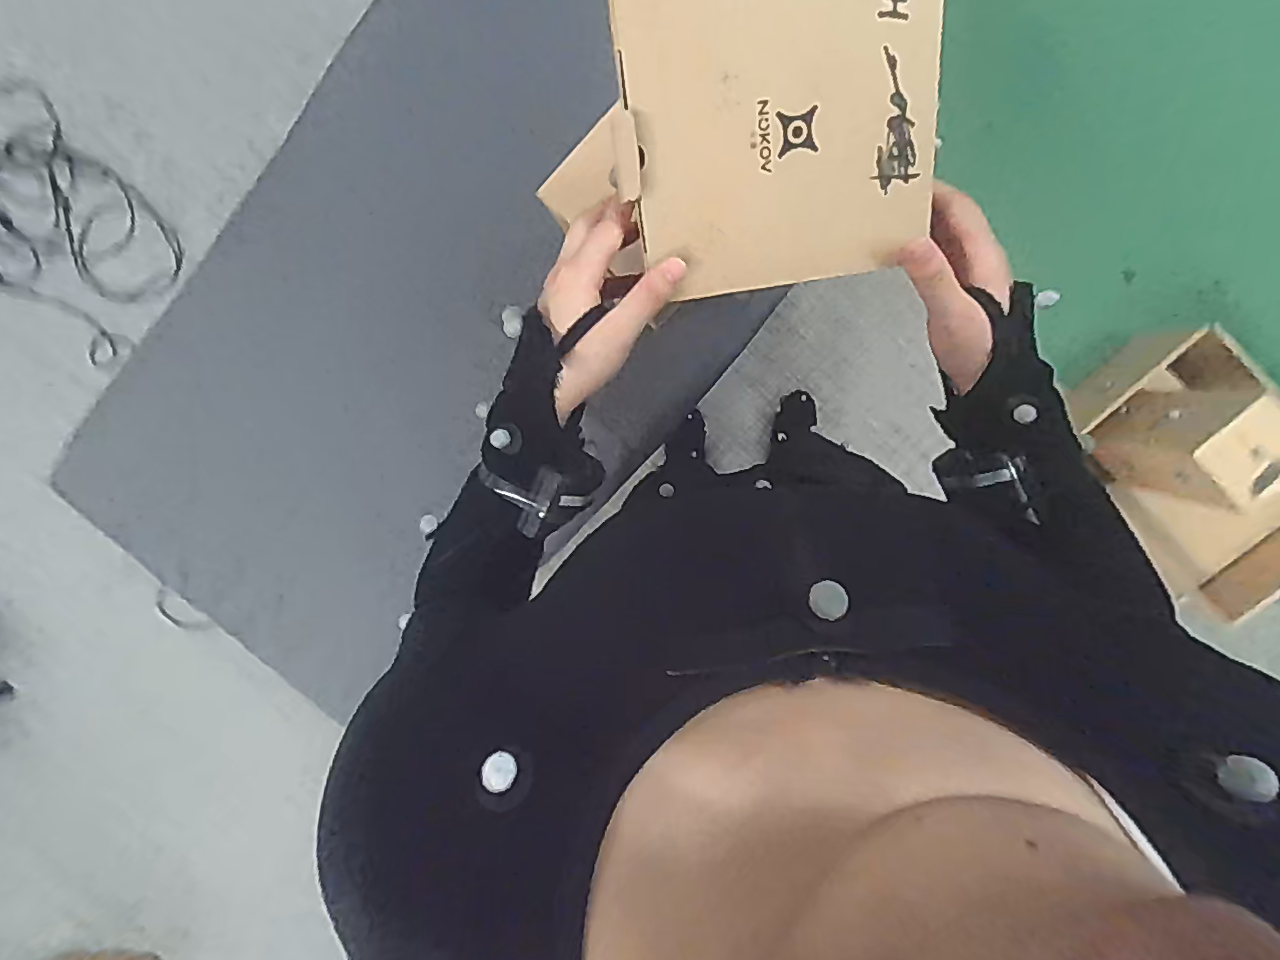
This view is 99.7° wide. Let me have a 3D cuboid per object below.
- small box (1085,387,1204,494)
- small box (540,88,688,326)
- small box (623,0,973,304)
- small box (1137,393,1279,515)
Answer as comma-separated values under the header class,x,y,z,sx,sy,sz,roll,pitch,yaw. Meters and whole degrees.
class,x,y,z,sx,sy,sz,roll,pitch,yaw
small box,1.192,-0.095,1.239,0.179,0.176,0.168,43,101,-5
small box,0.022,-0.295,0.606,0.179,0.176,0.168,-44,94,9
small box,0.089,-0.219,0.368,0.179,0.176,0.168,-6,113,4
small box,1.177,-0.063,1.079,0.179,0.176,0.168,44,100,-4
